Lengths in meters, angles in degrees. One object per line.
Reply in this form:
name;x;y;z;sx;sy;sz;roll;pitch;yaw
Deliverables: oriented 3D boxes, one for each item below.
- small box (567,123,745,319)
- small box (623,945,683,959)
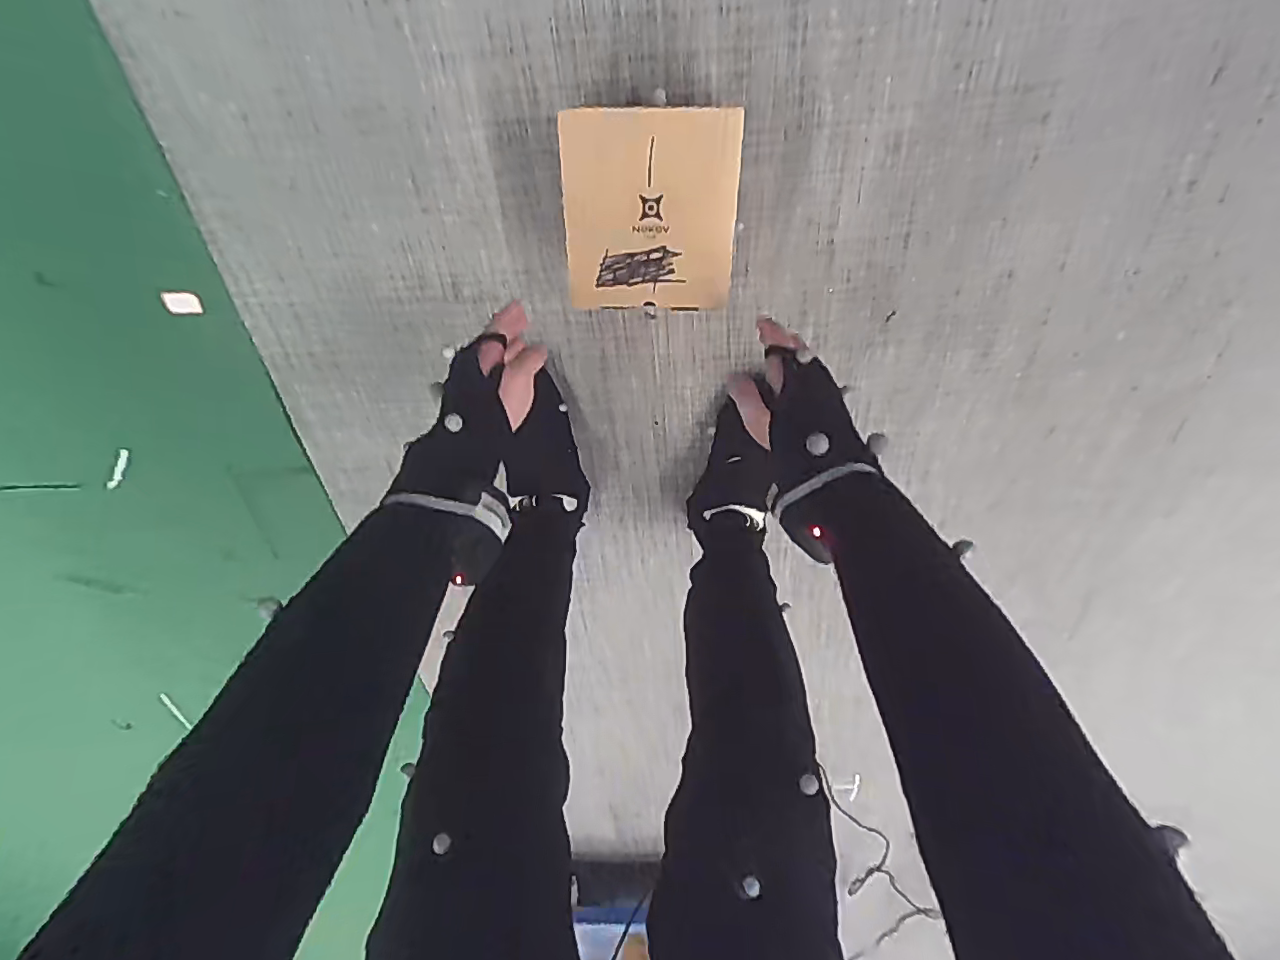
small box;0.016;-0.291;0.601;0.168;0.176;0.179;1;123;1
small box;0.038;1.417;1.492;0.168;0.176;0.179;-2;123;4
